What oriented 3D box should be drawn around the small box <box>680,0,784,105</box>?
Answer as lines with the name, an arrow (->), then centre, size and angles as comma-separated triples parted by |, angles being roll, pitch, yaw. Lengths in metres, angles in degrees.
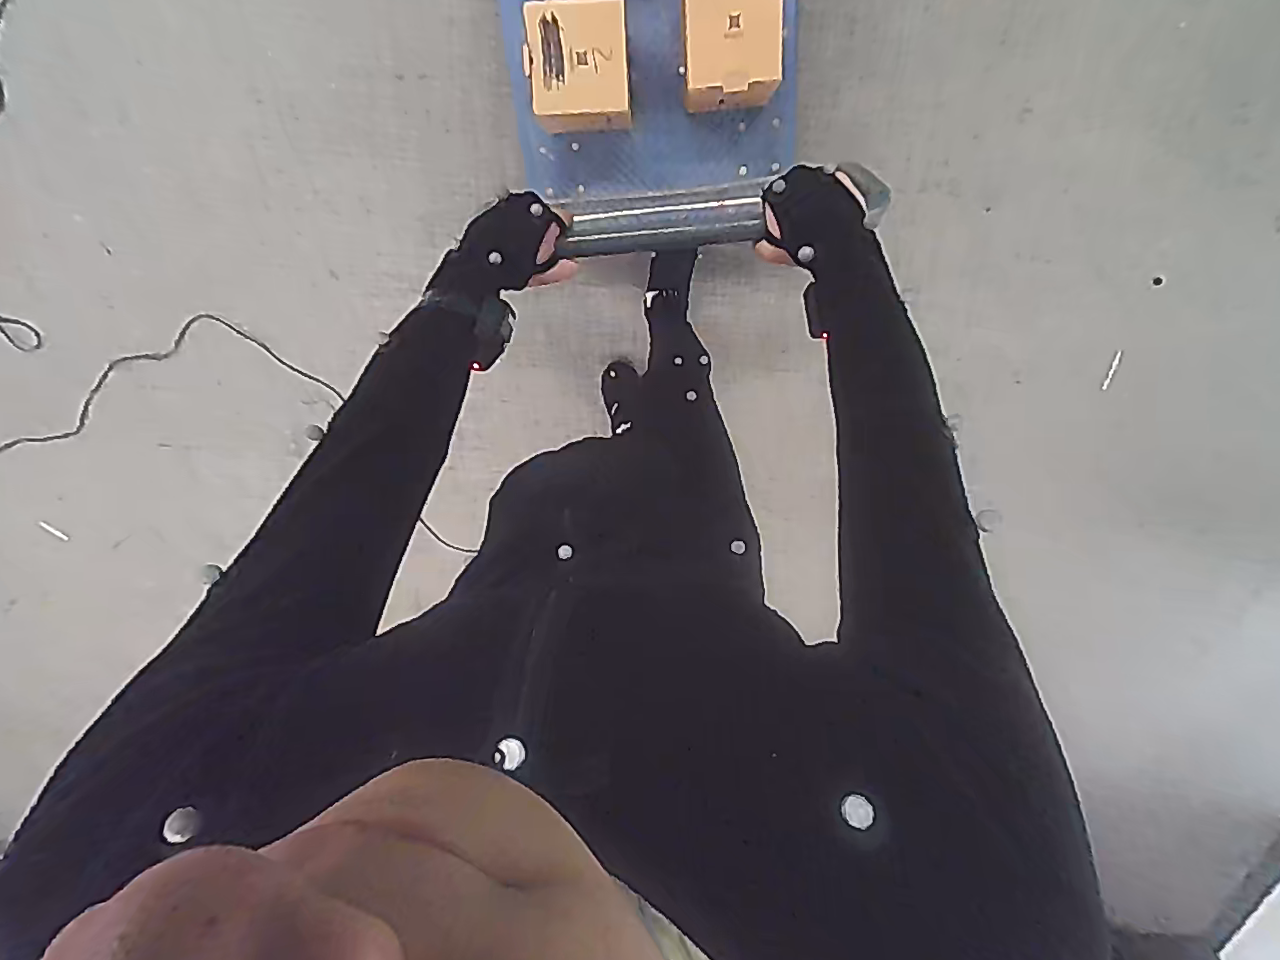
small box -> 0.163, -0.821, 0.994 | 0.168, 0.176, 0.179 | -4, 114, 3
